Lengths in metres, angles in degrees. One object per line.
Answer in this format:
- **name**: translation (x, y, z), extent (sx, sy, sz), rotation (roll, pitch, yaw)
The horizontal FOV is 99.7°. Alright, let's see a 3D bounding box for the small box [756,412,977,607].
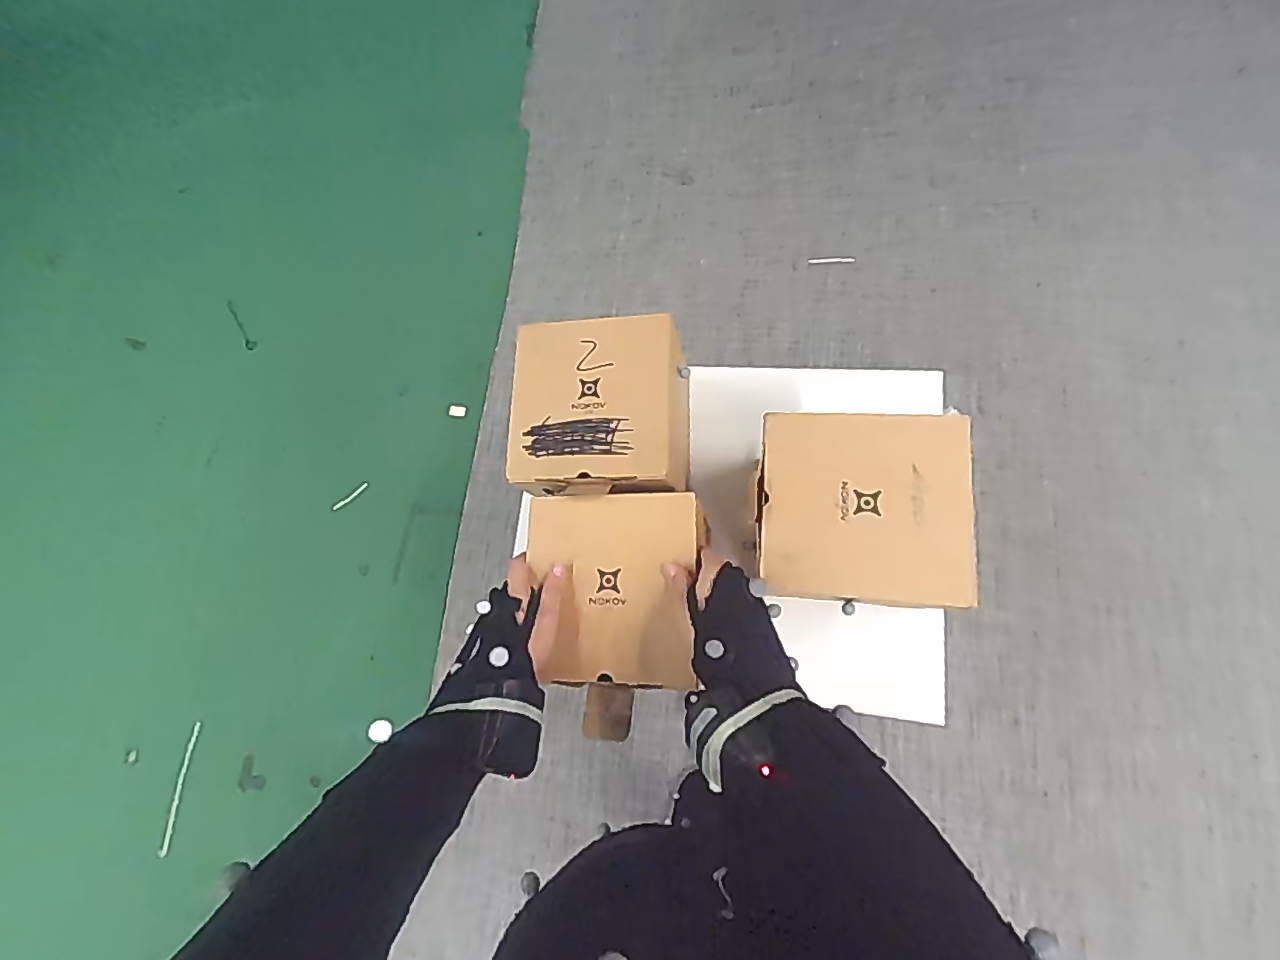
- **small box**: translation (0.211, 0.037, 0.545), extent (0.179, 0.176, 0.168), rotation (2, 78, 13)
